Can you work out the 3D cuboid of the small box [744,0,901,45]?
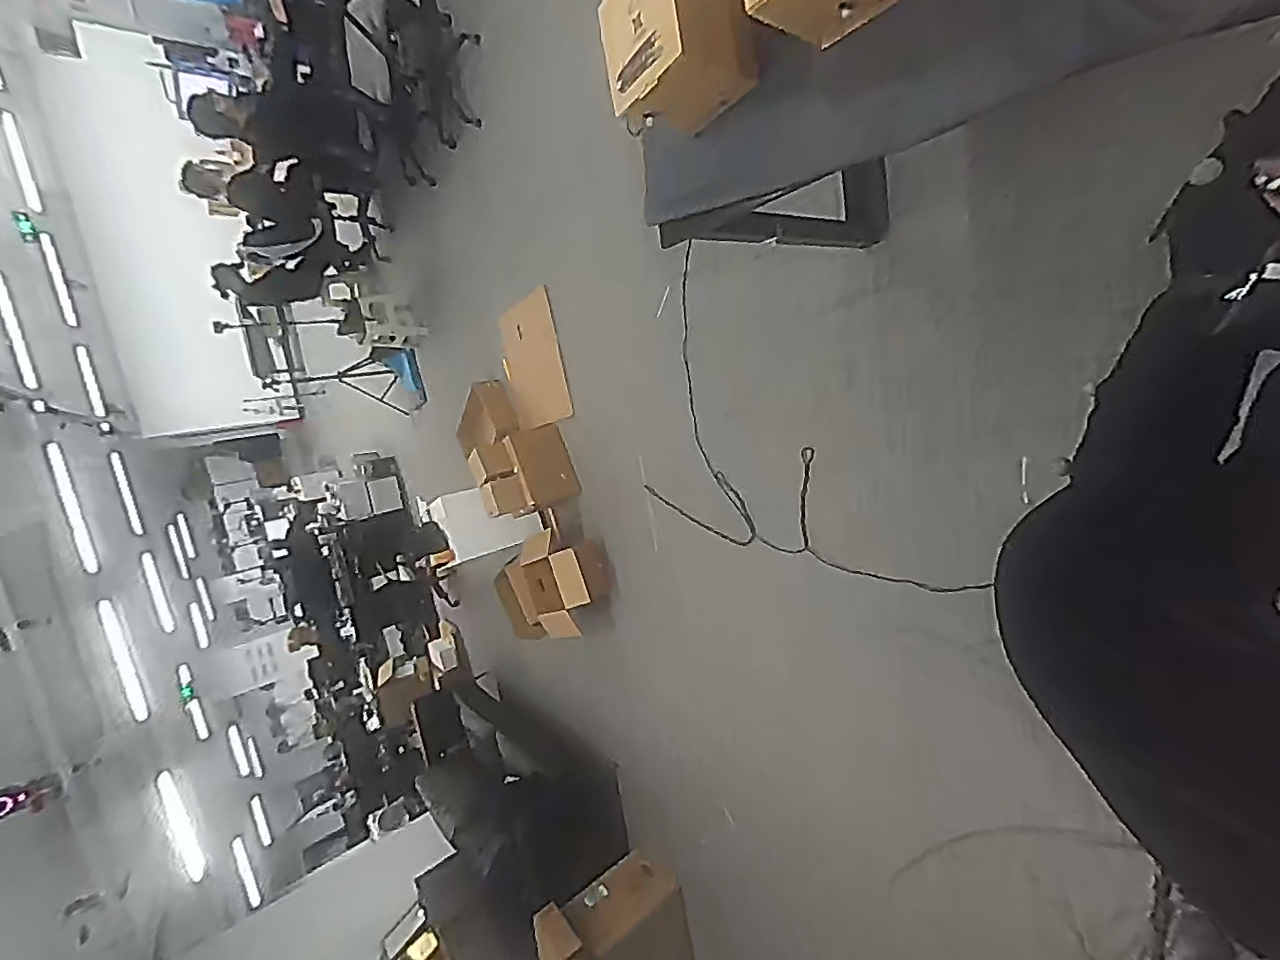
[{"bbox_3d":[0.233,-0.674,0.644,0.168,0.176,0.179,4,106,51],"label":"small box"}]
